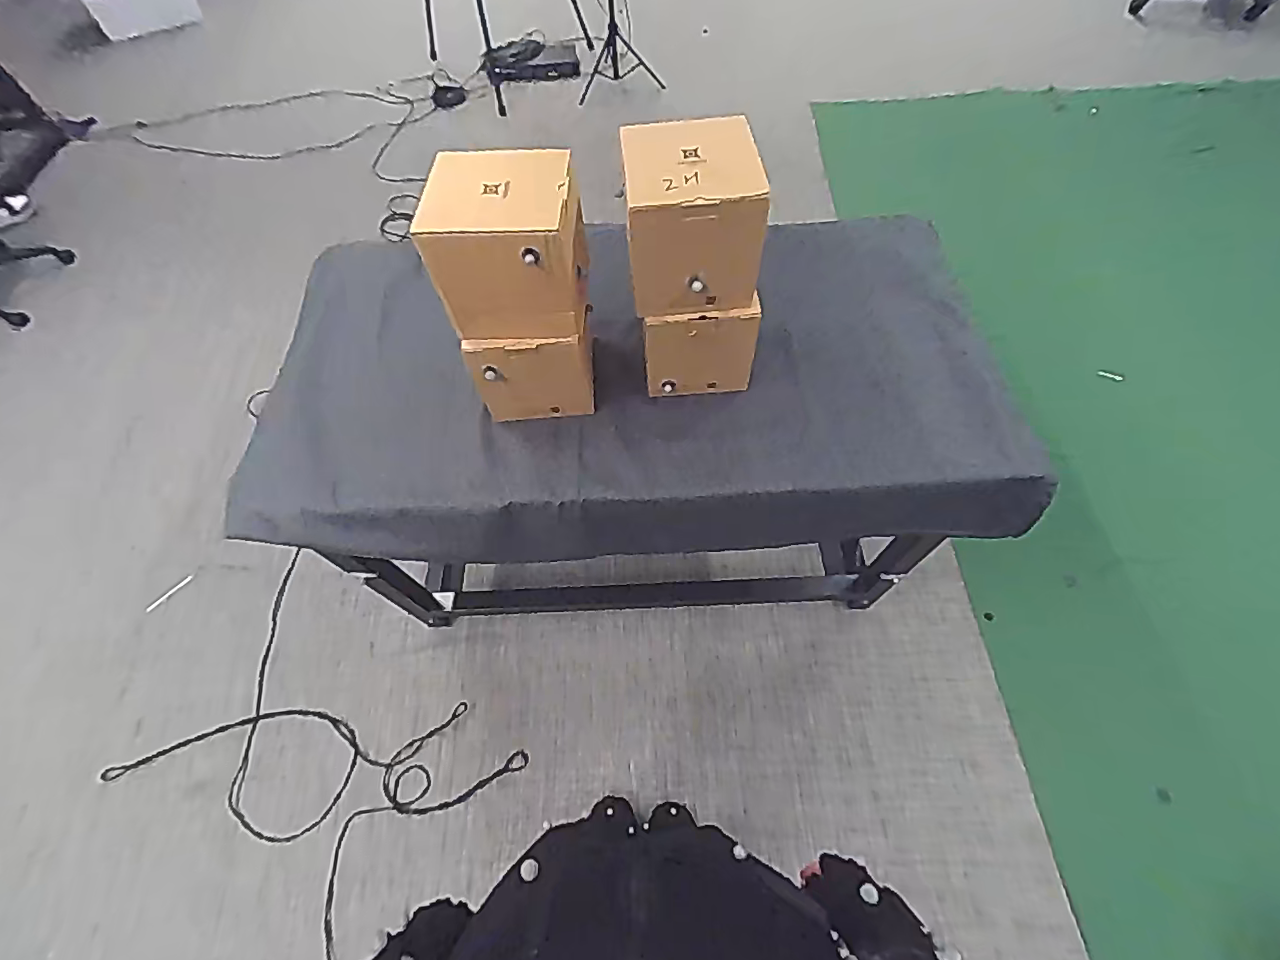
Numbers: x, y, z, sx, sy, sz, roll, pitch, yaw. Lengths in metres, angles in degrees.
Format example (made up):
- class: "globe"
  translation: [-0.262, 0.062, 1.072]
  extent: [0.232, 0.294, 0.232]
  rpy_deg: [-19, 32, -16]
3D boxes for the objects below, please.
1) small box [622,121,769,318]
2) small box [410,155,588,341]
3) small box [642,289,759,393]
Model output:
- class: "small box"
  translation: [0.065, -0.345, 0.728]
  extent: [0.168, 0.176, 0.179]
  rpy_deg: [-6, 61, 1]
- class: "small box"
  translation: [-0.171, -0.301, 0.719]
  extent: [0.179, 0.176, 0.168]
  rpy_deg: [0, 59, 2]
- class: "small box"
  translation: [0.087, -0.252, 0.863]
  extent: [0.168, 0.176, 0.179]
  rpy_deg: [-4, 59, 1]
